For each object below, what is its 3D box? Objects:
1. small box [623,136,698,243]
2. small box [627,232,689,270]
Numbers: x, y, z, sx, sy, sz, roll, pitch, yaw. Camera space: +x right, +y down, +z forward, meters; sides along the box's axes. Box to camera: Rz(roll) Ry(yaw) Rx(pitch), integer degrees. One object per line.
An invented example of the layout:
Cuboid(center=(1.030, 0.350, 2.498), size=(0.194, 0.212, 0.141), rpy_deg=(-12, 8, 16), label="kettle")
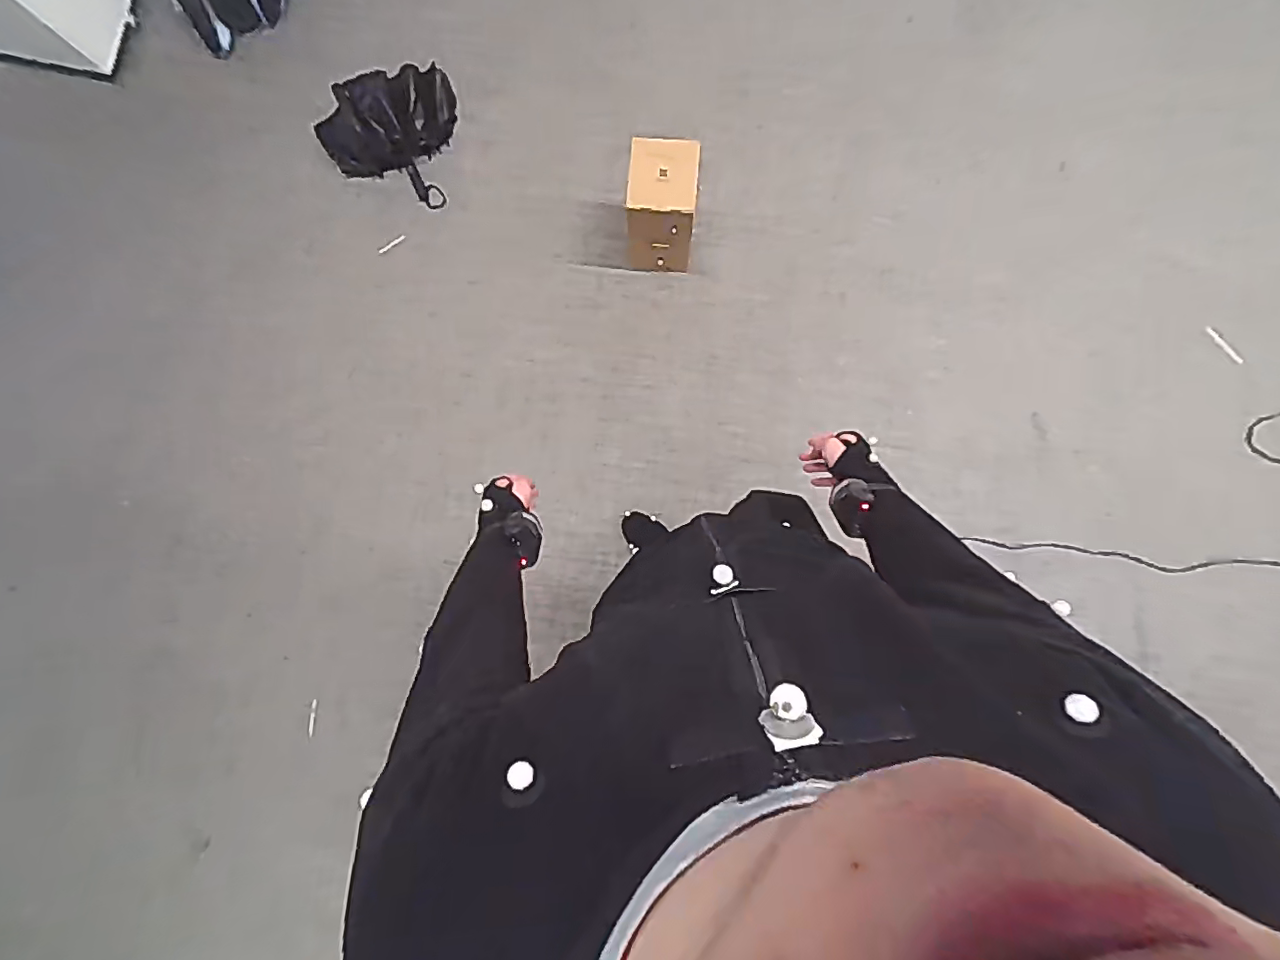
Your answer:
Cuboid(center=(0.052, -0.714, 1.348), size=(0.168, 0.176, 0.179), rpy_deg=(5, 86, 1), label="small box")
Cuboid(center=(0.056, -0.705, 1.510), size=(0.168, 0.176, 0.179), rpy_deg=(4, 88, 2), label="small box")
